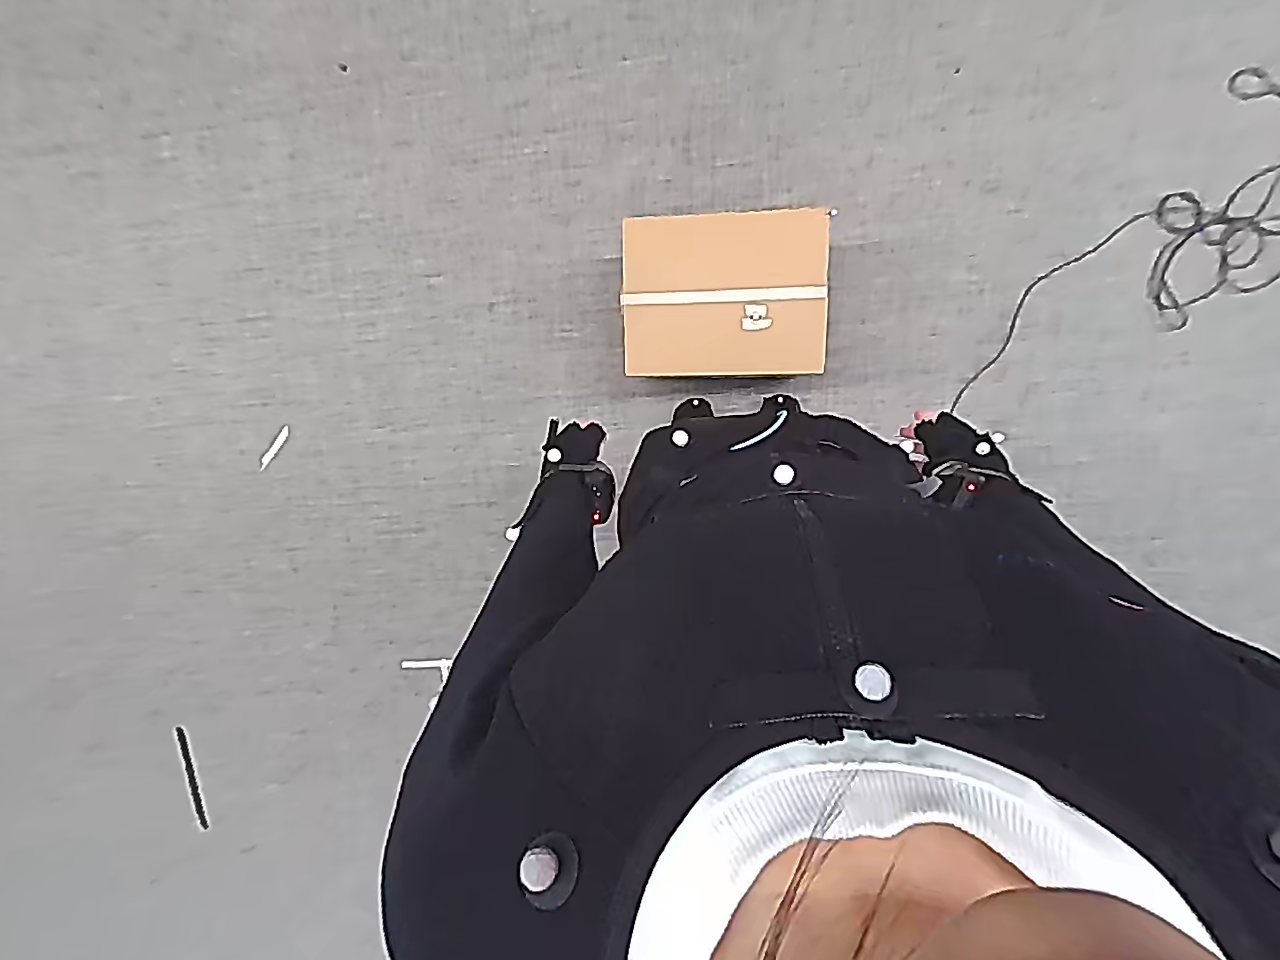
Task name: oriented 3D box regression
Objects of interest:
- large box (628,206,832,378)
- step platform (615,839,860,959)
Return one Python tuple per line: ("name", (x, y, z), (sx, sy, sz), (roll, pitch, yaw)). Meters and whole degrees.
("large box", (0.192, -0.398, 1.230), (0.408, 0.320, 0.320), (1, 101, 7))
("step platform", (0.271, 1.253, 1.565), (0.684, 0.204, 0.286), (-3, 99, 10))
